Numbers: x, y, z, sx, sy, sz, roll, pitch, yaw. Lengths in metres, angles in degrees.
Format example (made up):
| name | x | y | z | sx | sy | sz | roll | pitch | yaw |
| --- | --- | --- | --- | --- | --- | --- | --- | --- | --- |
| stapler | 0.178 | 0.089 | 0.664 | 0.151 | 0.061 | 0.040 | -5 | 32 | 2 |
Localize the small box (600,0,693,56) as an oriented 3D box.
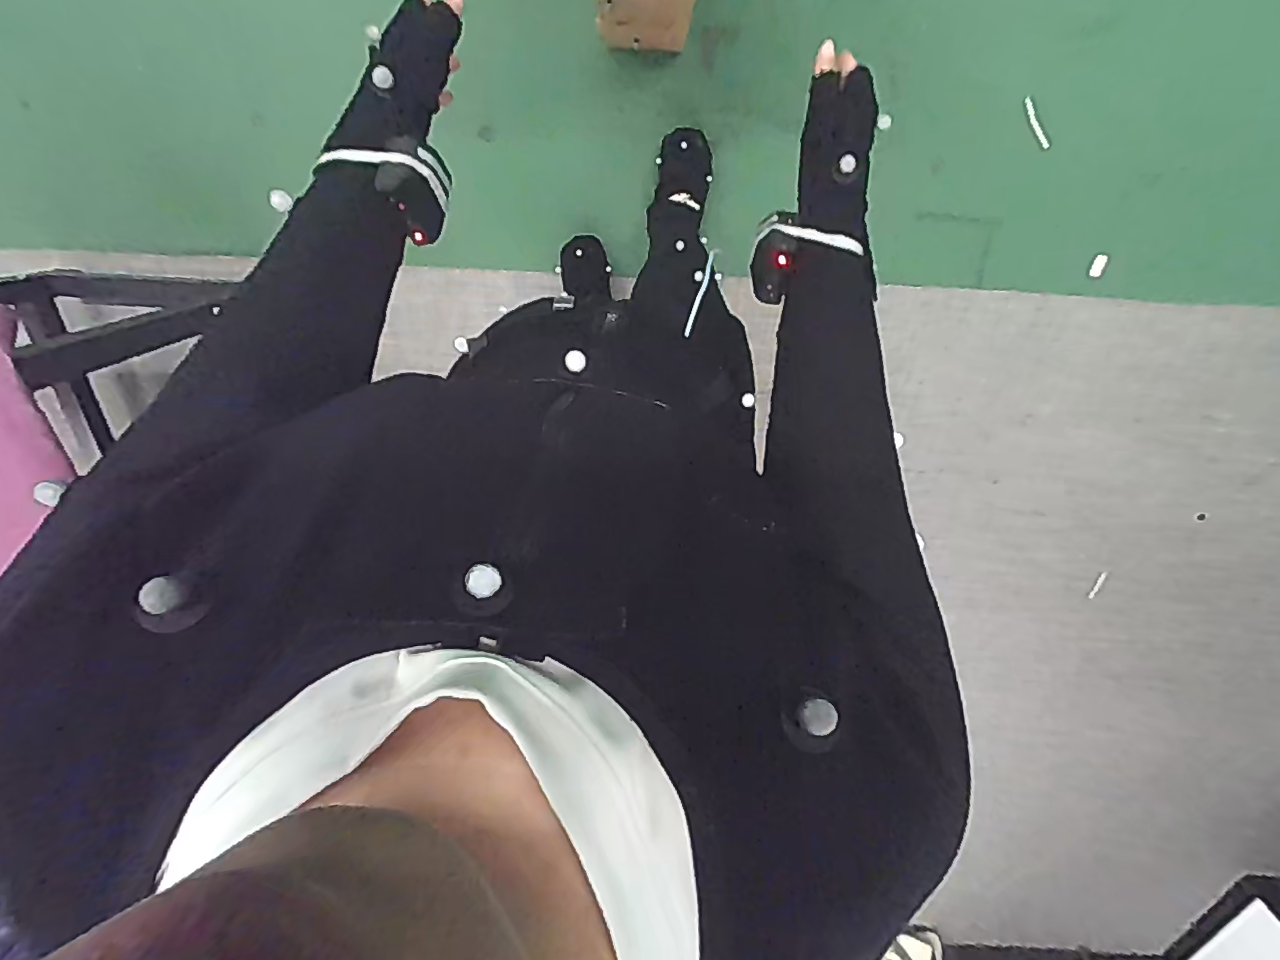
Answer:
| name | x | y | z | sx | sy | sz | roll | pitch | yaw |
| --- | --- | --- | --- | --- | --- | --- | --- | --- | --- |
| small box | 0.015 | -0.917 | 0.999 | 0.168 | 0.176 | 0.179 | 4 | 118 | -1 |
